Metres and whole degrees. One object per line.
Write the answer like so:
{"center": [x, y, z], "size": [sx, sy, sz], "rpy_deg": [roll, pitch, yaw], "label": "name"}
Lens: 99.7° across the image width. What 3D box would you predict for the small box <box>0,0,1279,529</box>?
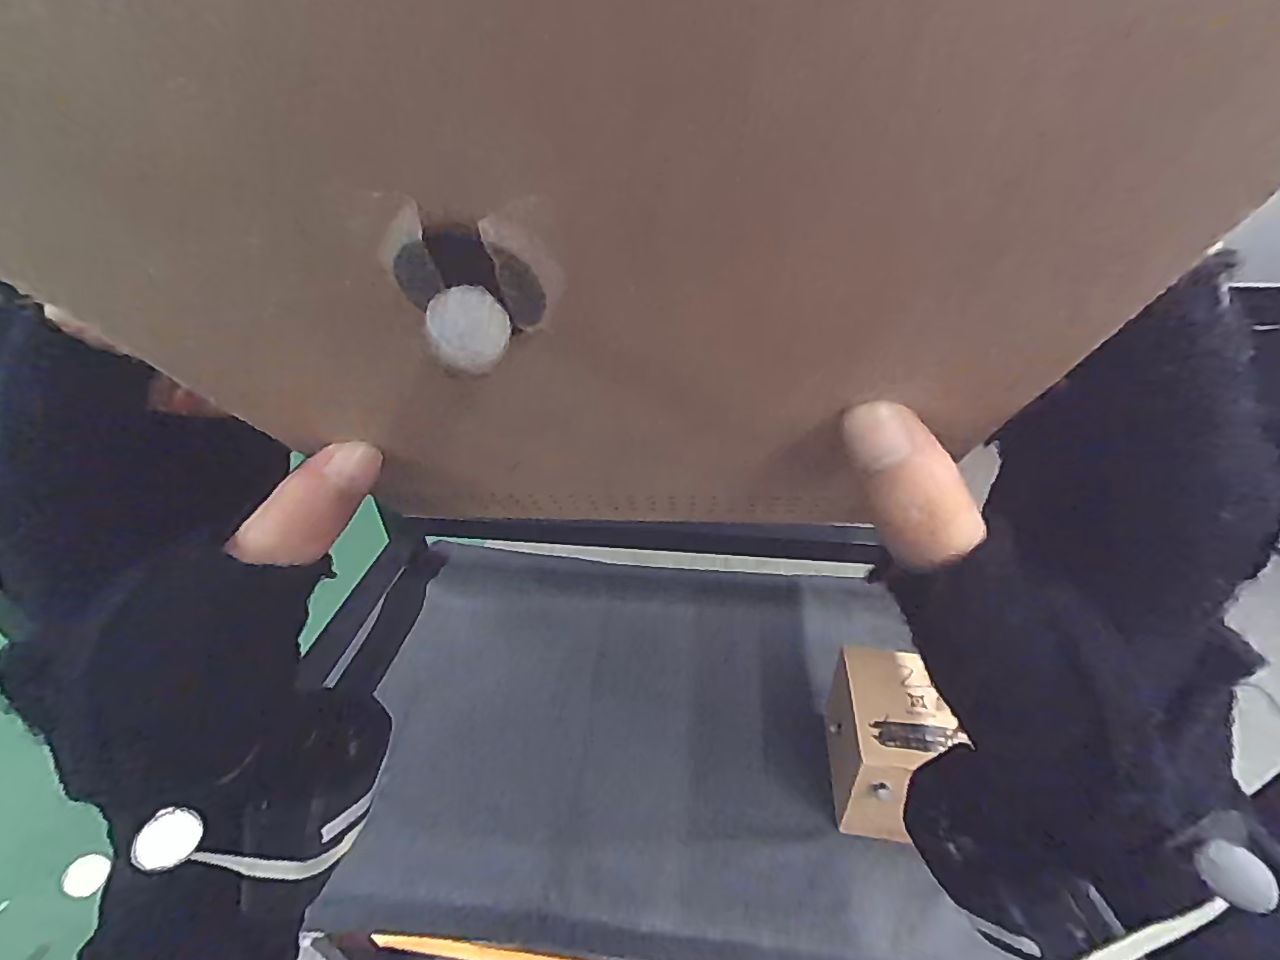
{"center": [-0.010, -0.087, 0.153], "size": [0.179, 0.176, 0.168], "rpy_deg": [1, 69, 6], "label": "small box"}
